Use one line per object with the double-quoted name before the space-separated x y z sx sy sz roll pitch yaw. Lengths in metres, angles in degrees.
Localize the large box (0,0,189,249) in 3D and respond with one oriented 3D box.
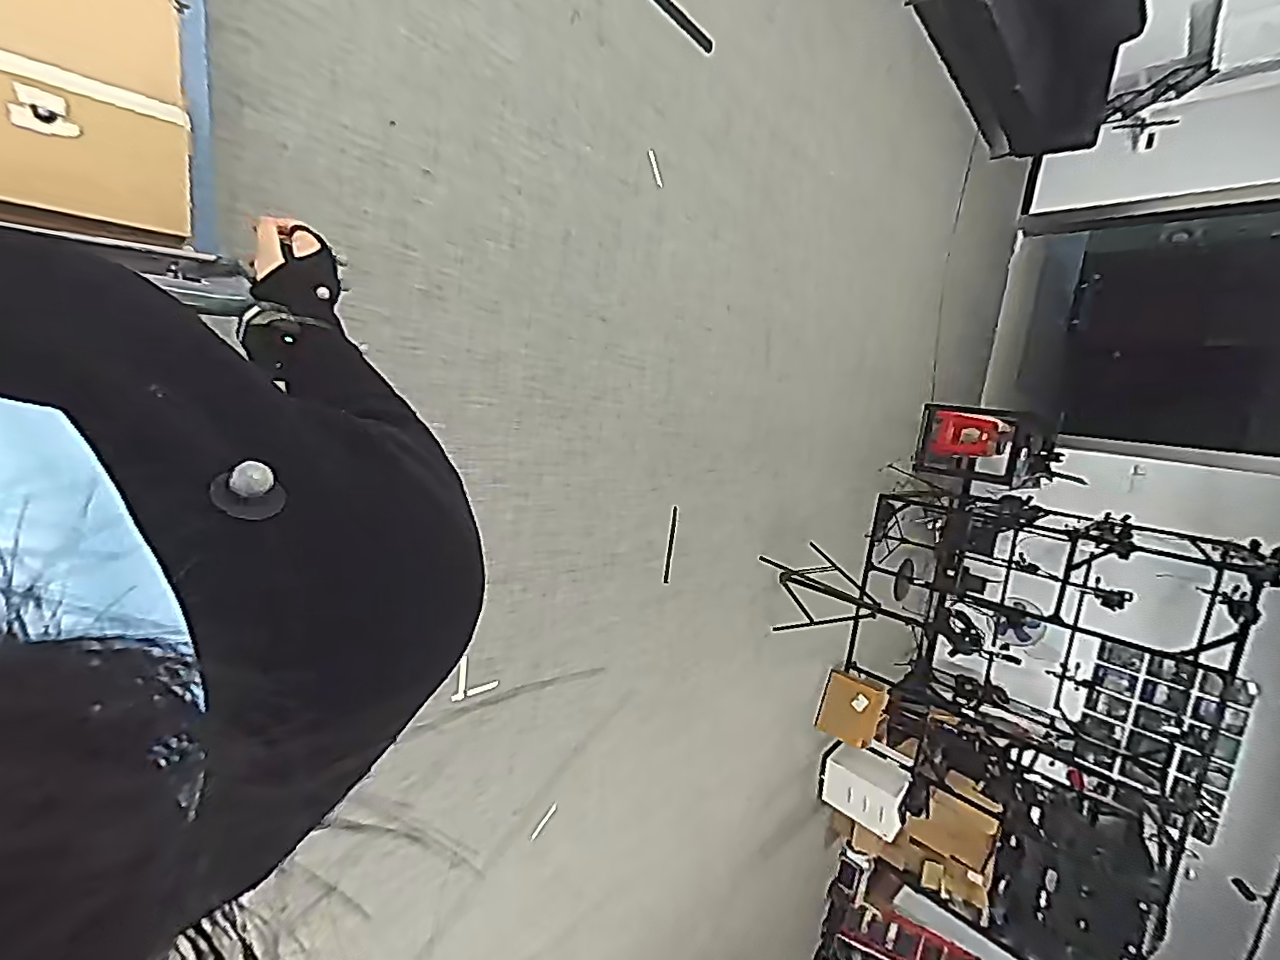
"large box" -0.884 -0.520 0.708 0.408 0.320 0.320 -5 106 -47
